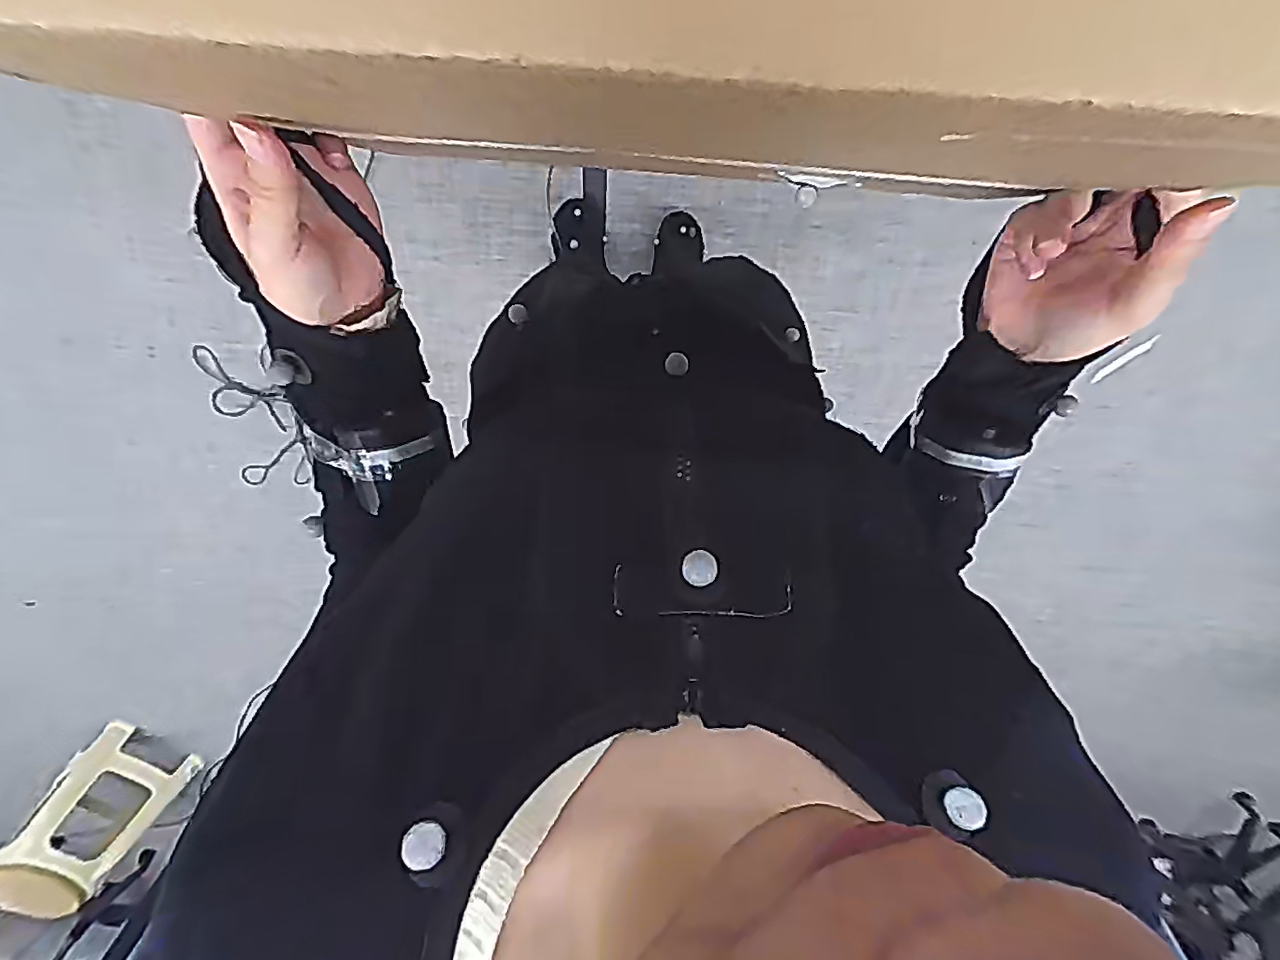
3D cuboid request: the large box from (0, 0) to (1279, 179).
[{"bbox_3d":[0.021,-0.291,0.177,0.408,0.320,0.320,3,118,1],"label":"large box"}]
